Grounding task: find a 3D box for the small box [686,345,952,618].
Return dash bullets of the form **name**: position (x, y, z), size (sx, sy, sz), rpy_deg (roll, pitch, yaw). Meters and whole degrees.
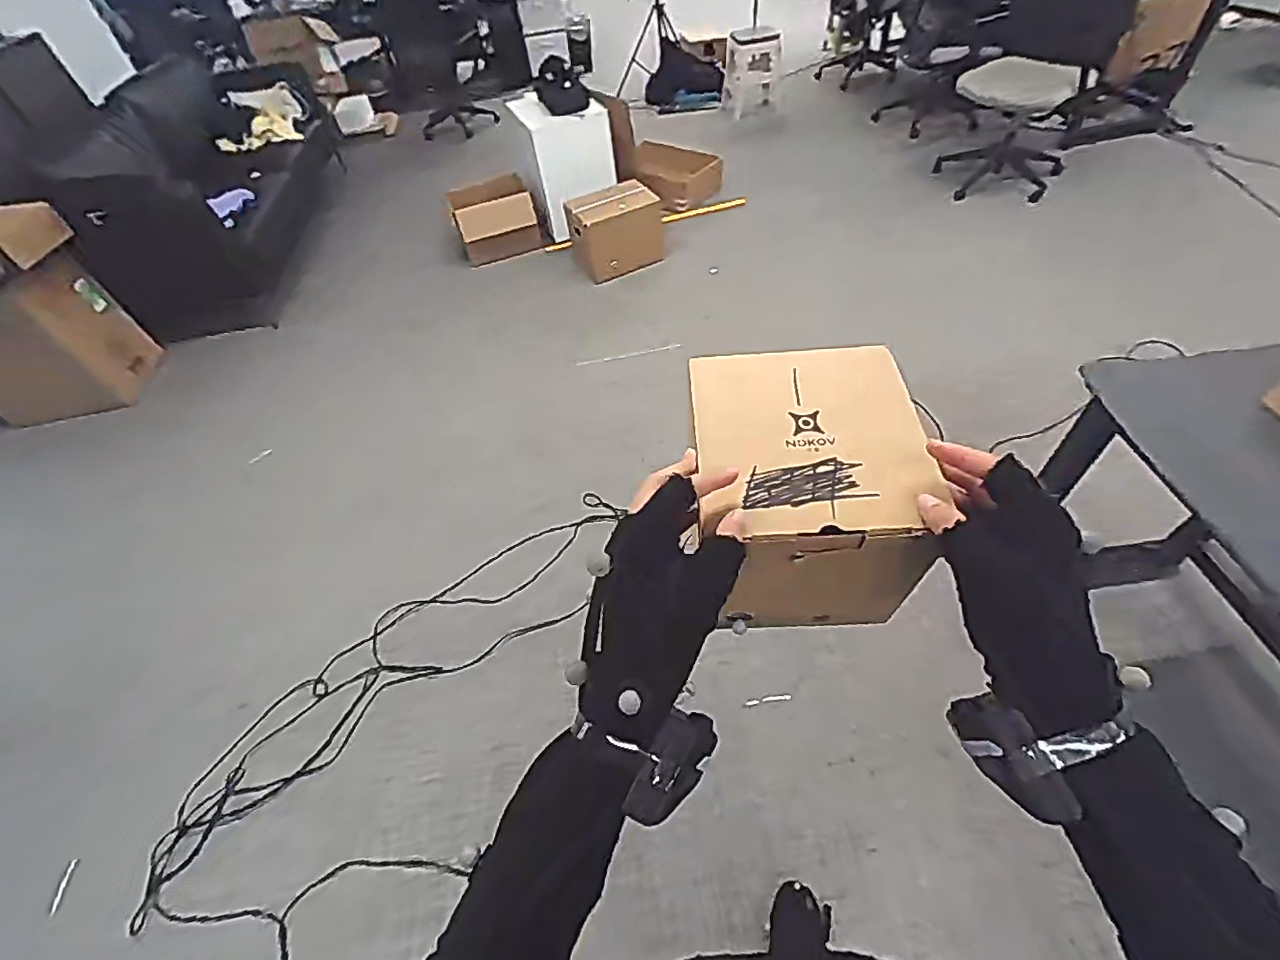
- **small box**: position (0.128, 0.011, 0.465), size (0.168, 0.176, 0.179), rpy_deg (-3, 53, 3)
